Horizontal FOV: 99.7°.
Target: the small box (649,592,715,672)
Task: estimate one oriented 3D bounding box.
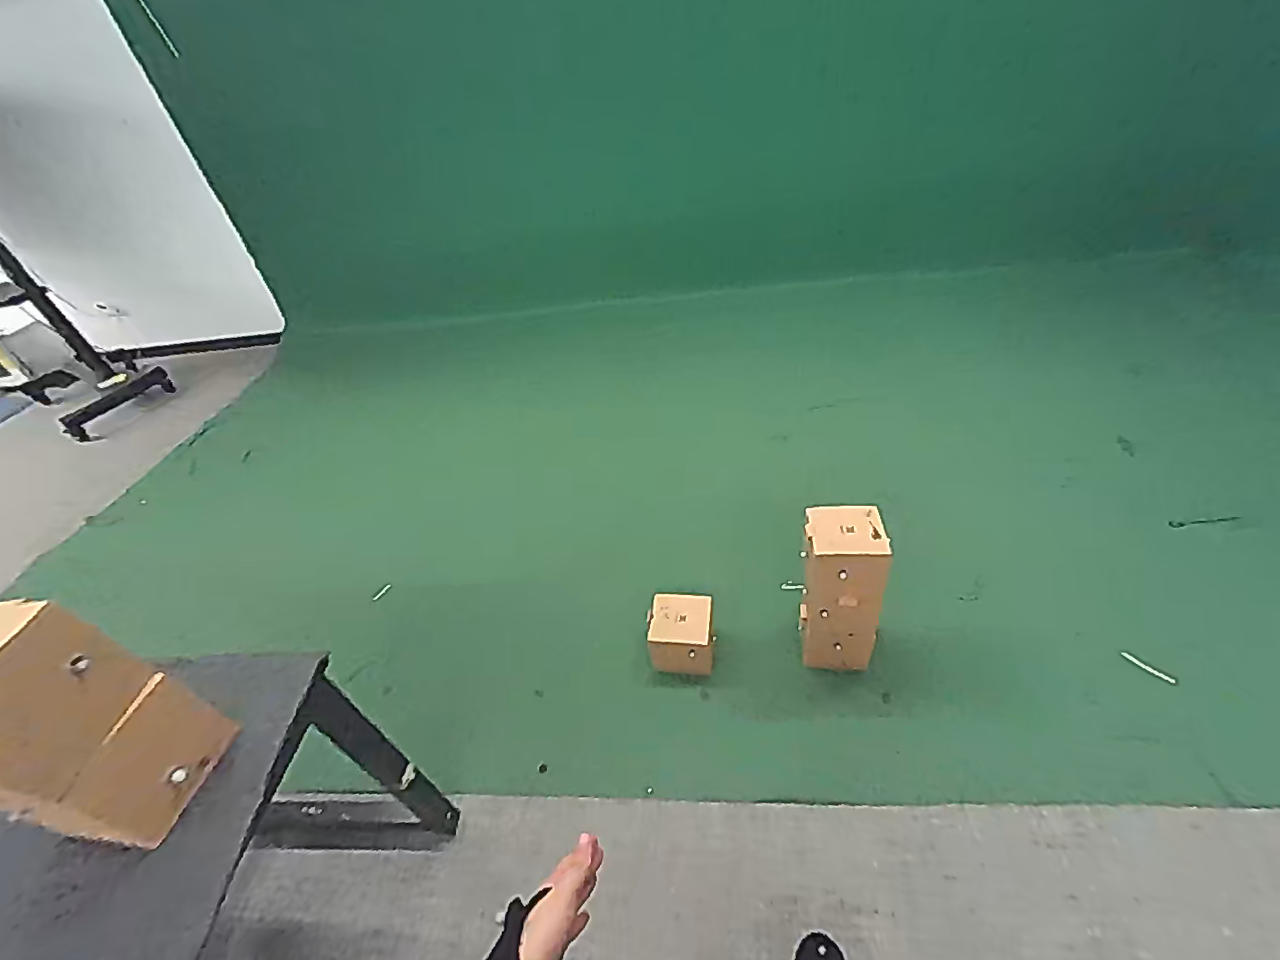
[{"bbox_3d":[0.132,0.456,1.619,0.179,0.176,0.168,0,41,12],"label":"small box"}]

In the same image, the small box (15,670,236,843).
[{"bbox_3d":[-0.730,0.378,0.749,0.179,0.176,0.168,-1,42,13],"label":"small box"}]

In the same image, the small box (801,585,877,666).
[{"bbox_3d":[0.571,0.425,1.570,0.179,0.176,0.168,-1,41,11],"label":"small box"}]

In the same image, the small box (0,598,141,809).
[{"bbox_3d":[-0.758,0.264,0.637,0.168,0.176,0.179,-8,42,8],"label":"small box"}]

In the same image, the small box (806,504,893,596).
[{"bbox_3d":[0.516,0.178,1.360,0.179,0.176,0.168,-2,40,10],"label":"small box"}]
